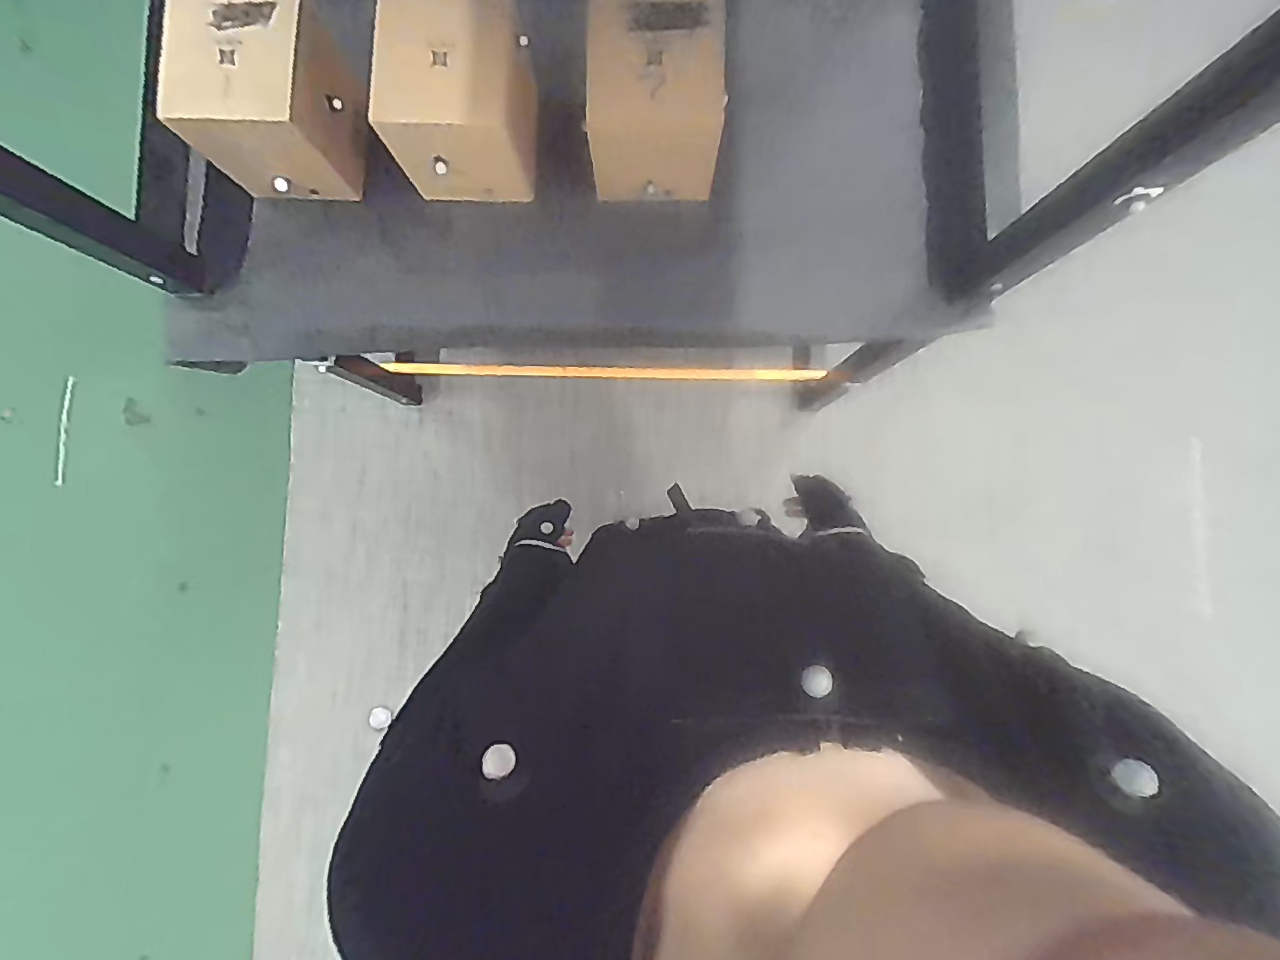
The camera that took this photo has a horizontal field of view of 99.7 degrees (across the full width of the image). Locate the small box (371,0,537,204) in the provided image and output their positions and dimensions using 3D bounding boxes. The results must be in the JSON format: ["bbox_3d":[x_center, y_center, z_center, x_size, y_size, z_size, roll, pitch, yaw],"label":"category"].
[{"bbox_3d":[-0.239,-0.503,0.735,0.168,0.176,0.179,2,86,1],"label":"small box"}]

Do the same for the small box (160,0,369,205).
[{"bbox_3d":[-0.492,-0.509,0.736,0.168,0.176,0.179,2,87,1],"label":"small box"}]
